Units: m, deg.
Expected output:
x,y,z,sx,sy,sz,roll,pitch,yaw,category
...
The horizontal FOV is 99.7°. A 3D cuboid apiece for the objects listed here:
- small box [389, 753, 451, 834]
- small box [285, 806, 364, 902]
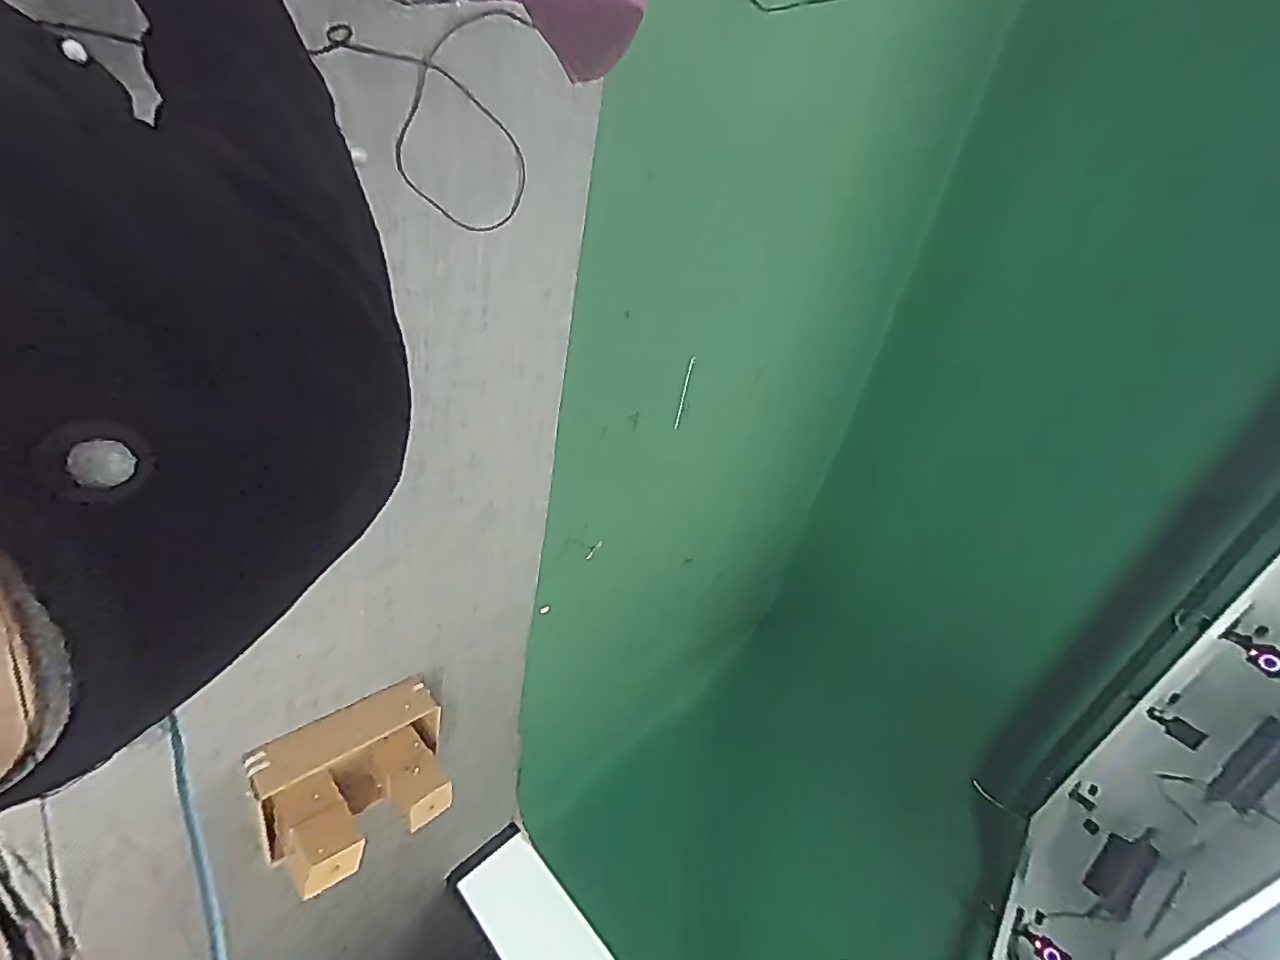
x,y,z,sx,sy,sz,roll,pitch,yaw,category
-0.849,1.204,2.086,0.168,0.176,0.179,-20,131,-44,small box
-1.080,1.265,1.847,0.179,0.176,0.168,-3,118,-51,small box
